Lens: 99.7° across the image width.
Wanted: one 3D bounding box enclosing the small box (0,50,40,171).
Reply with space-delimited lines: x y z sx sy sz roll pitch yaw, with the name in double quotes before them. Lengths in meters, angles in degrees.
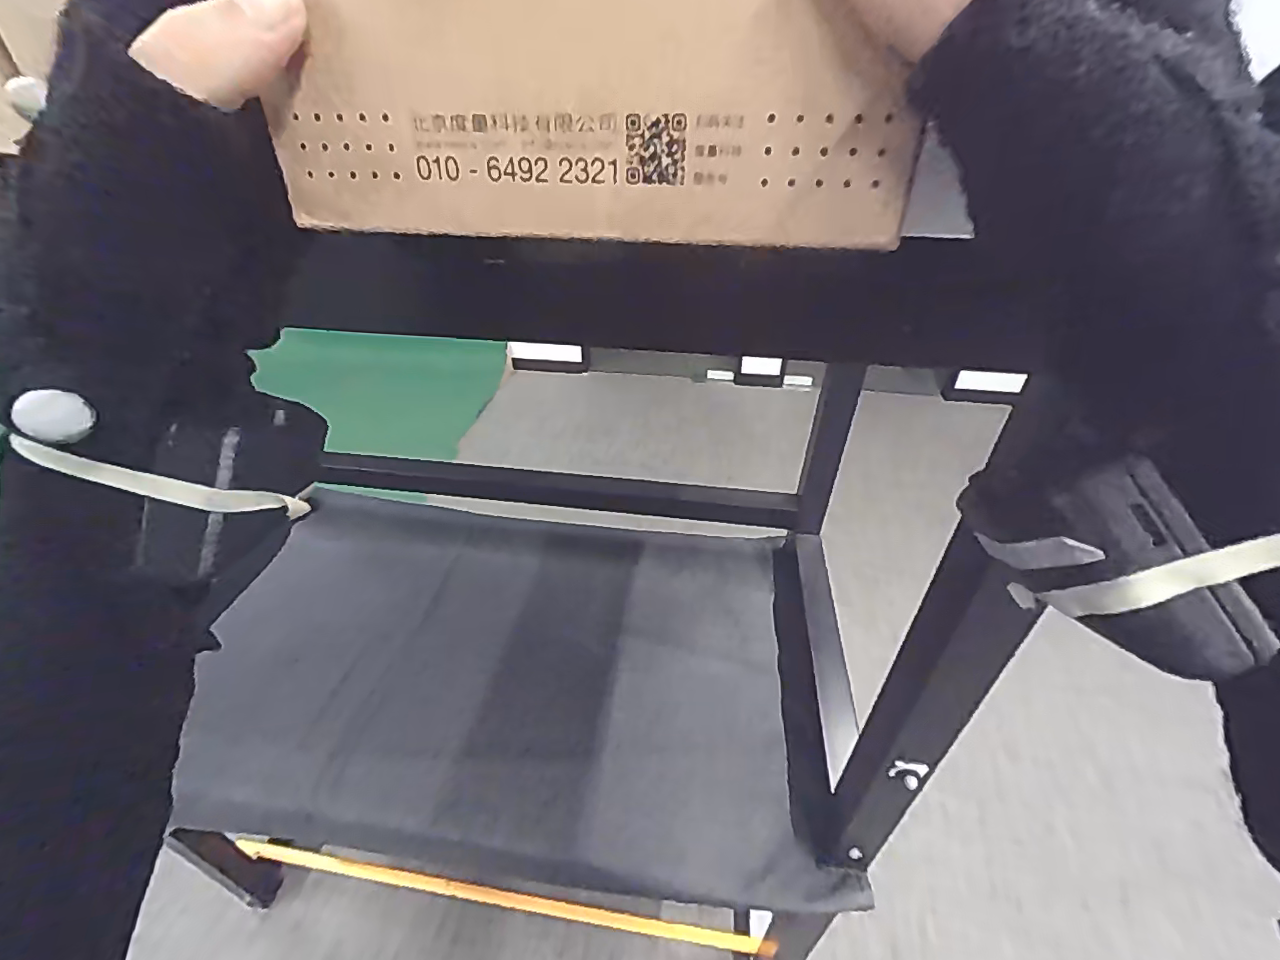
"small box" -0.643 -0.328 0.415 0.168 0.176 0.179 6 38 8
